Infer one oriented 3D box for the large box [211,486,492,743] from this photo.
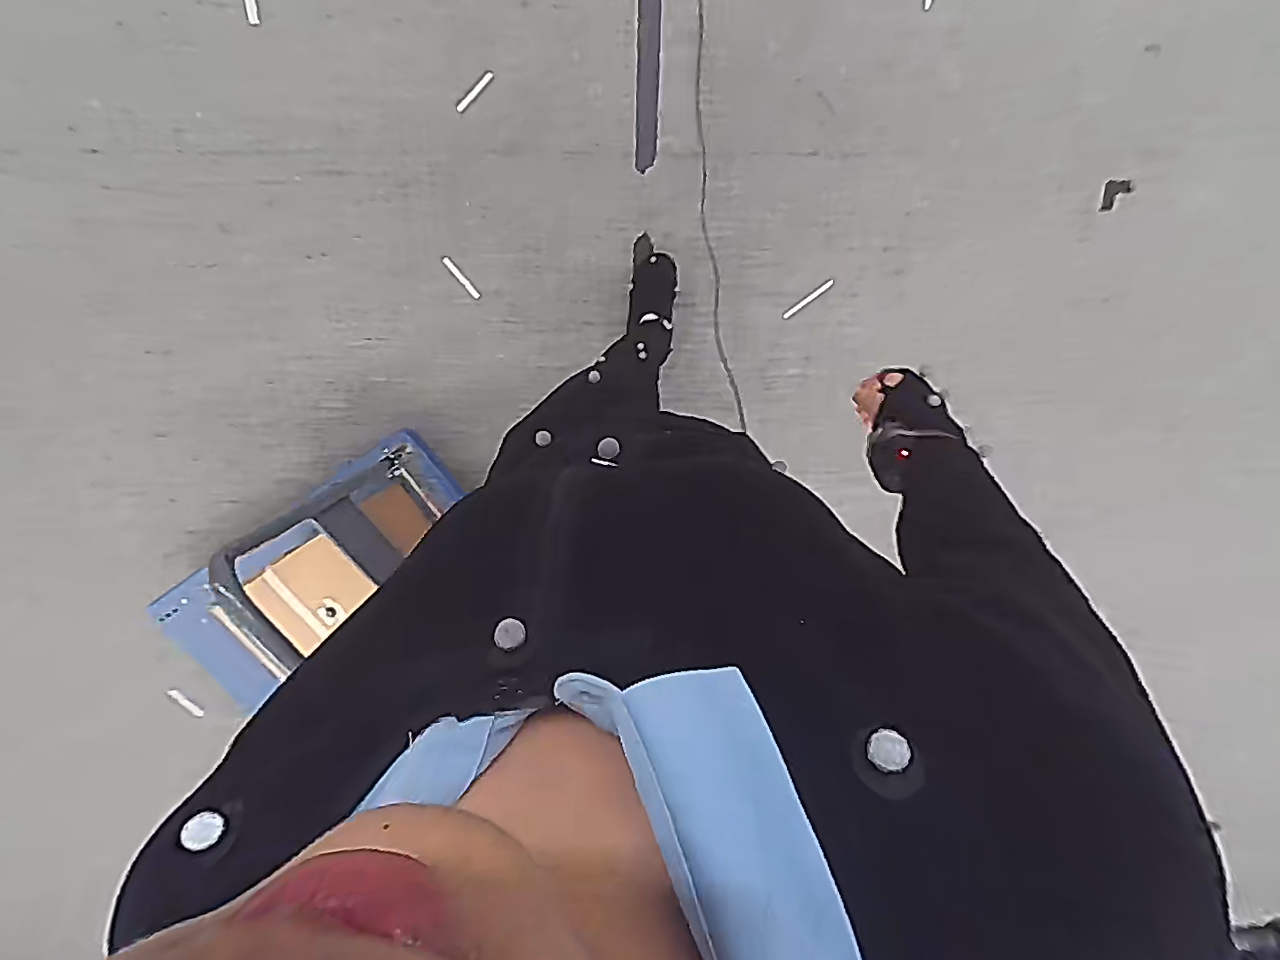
[{"bbox_3d":[-0.608,0.288,1.227,0.320,0.320,0.408,-32,104,8],"label":"large box"}]
